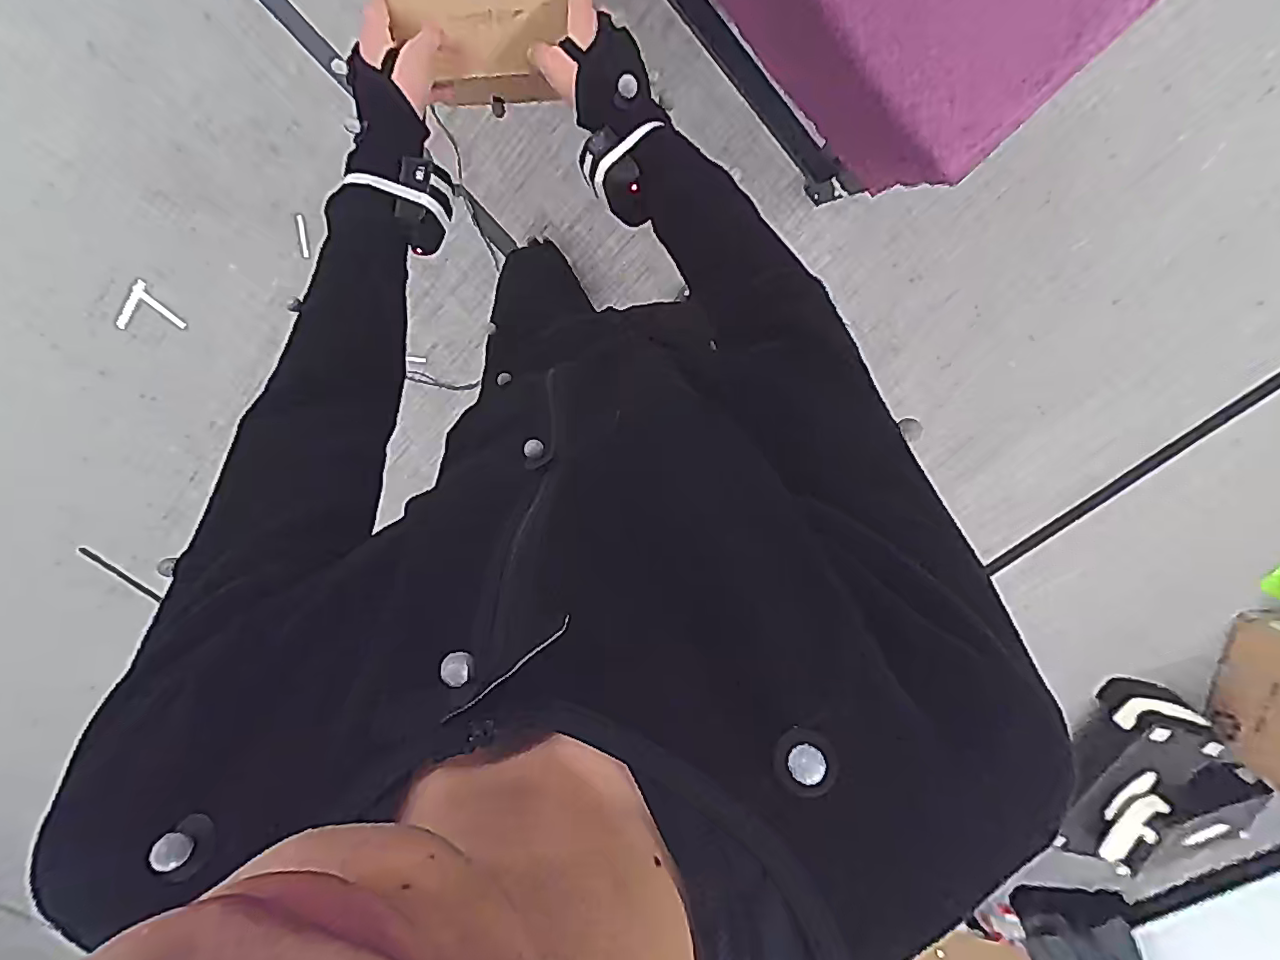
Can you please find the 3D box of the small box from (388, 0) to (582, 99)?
[{"bbox_3d":[-0.148,-0.499,0.533,0.168,0.176,0.179,-4,117,-1],"label":"small box"}]
